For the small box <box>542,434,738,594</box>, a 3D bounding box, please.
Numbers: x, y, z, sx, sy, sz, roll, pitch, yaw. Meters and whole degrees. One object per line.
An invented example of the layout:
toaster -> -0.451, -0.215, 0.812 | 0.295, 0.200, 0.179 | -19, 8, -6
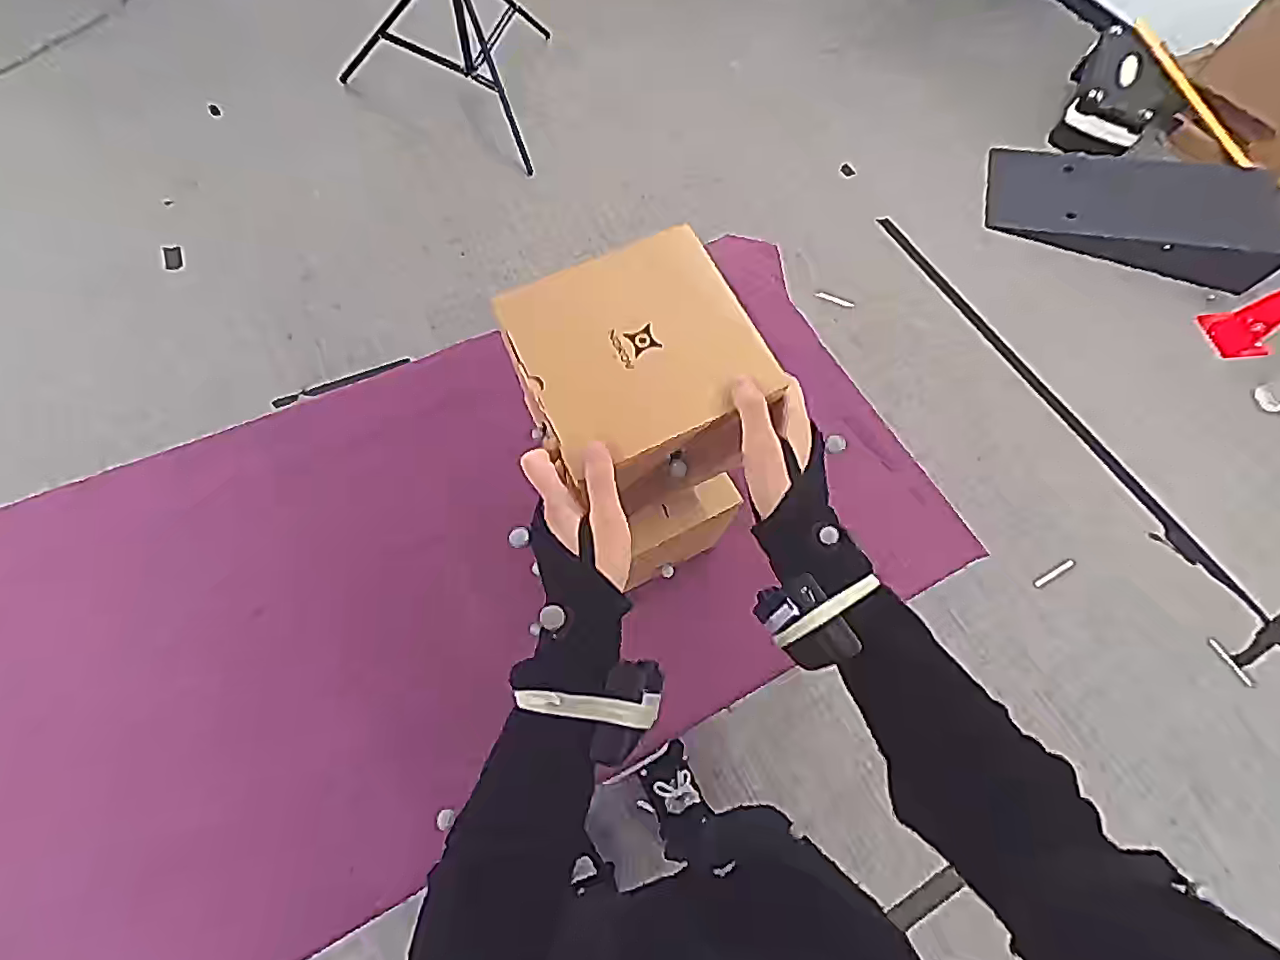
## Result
small box -> -0.009, 0.018, 0.672 | 0.168, 0.176, 0.179 | -25, 71, -14

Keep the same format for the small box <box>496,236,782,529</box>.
small box -> -0.005, -0.075, 0.491 | 0.179, 0.176, 0.168 | -25, 74, -8
